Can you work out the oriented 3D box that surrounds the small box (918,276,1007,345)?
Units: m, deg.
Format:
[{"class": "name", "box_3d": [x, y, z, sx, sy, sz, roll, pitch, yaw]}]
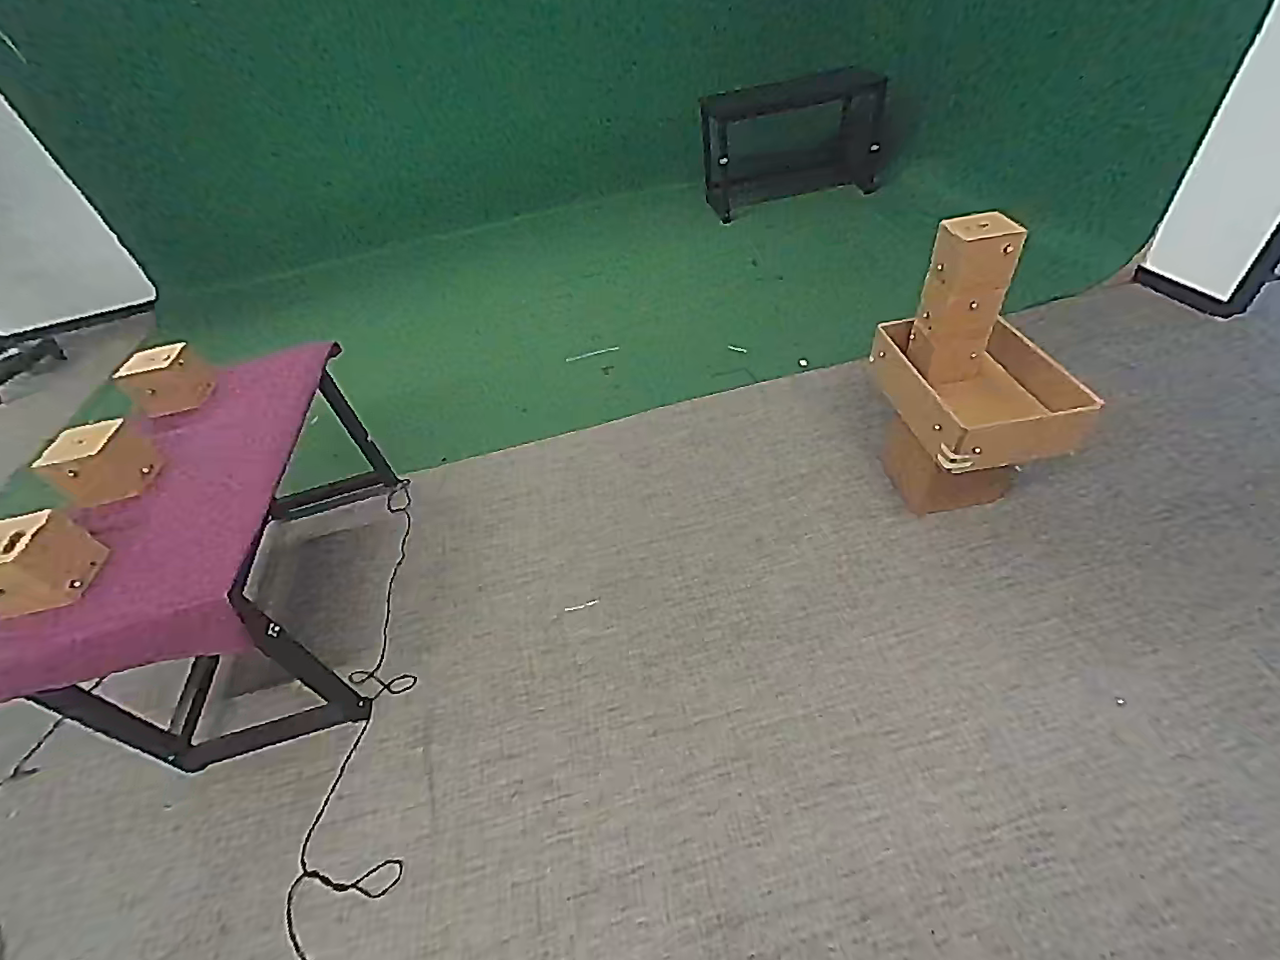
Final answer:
[{"class": "small box", "box_3d": [1.040, -0.561, 1.758, 0.179, 0.176, 0.168, -9, 44, 3]}]

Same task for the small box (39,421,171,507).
[{"class": "small box", "box_3d": [-1.530, -0.042, 1.560, 0.179, 0.176, 0.168, -12, 45, -2]}]

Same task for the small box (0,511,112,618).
[{"class": "small box", "box_3d": [-1.440, 0.203, 1.288, 0.179, 0.176, 0.168, -14, 44, -3]}]

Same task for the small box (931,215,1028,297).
[{"class": "small box", "box_3d": [1.020, -0.678, 1.643, 0.179, 0.176, 0.168, -8, 44, 4]}]

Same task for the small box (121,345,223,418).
[{"class": "small box", "box_3d": [-1.610, -0.337, 1.872, 0.179, 0.176, 0.168, -14, 45, -2]}]
